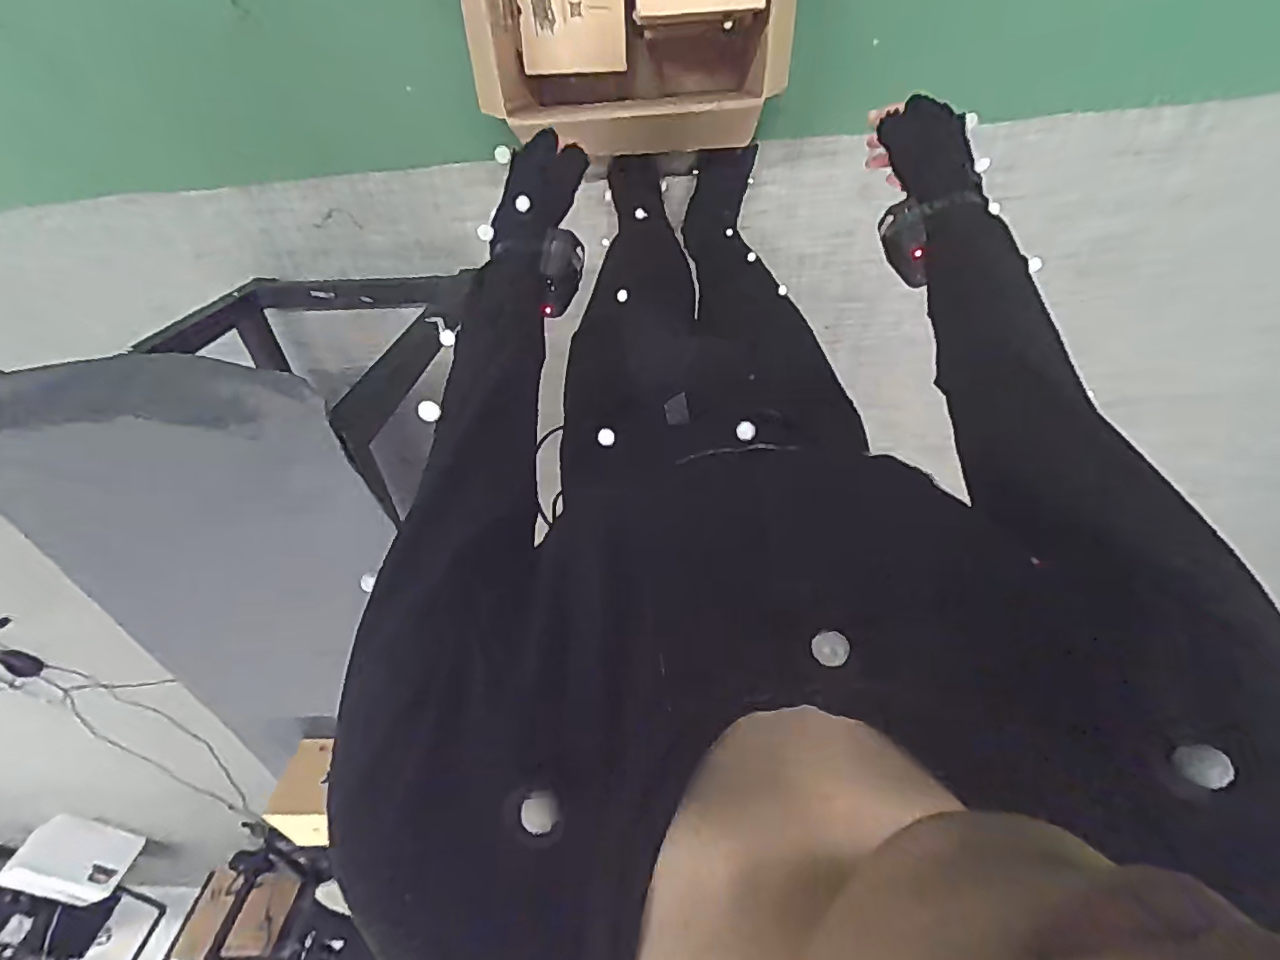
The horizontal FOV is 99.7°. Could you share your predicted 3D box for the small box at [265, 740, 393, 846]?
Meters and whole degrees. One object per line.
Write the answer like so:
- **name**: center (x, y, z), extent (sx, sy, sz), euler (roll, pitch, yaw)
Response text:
- **small box**: center (-0.701, 0.715, 1.242), extent (0.168, 0.176, 0.179), euler (-3, 129, 4)
